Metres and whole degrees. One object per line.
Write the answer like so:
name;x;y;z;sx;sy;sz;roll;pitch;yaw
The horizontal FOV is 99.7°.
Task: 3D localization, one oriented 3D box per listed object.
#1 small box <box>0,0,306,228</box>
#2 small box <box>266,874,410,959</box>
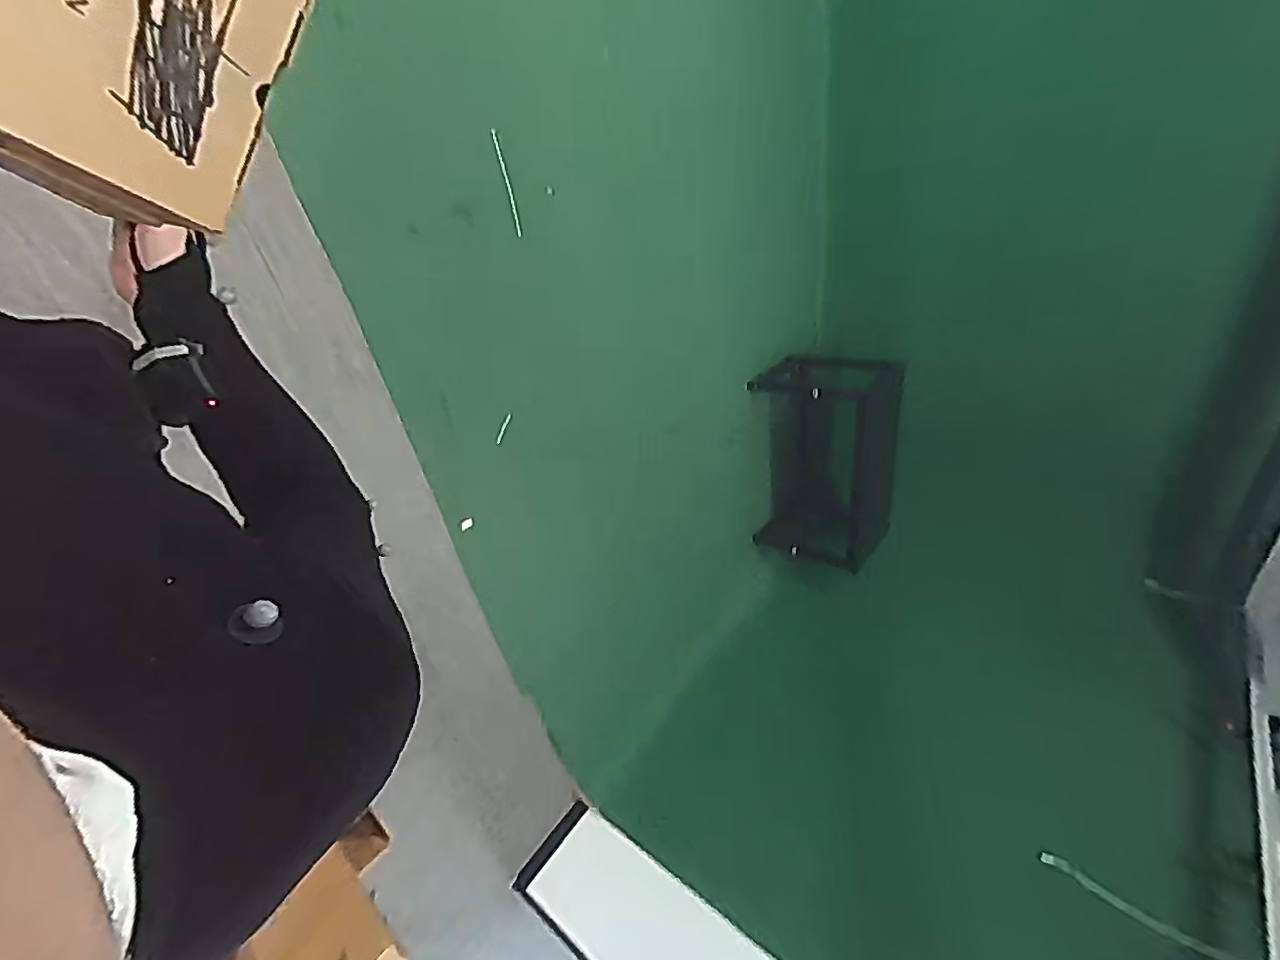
small box;-0.318;-0.264;0.287;0.179;0.176;0.168;18;96;-53
small box;-0.565;0.905;1.013;0.179;0.176;0.168;-36;130;-38
